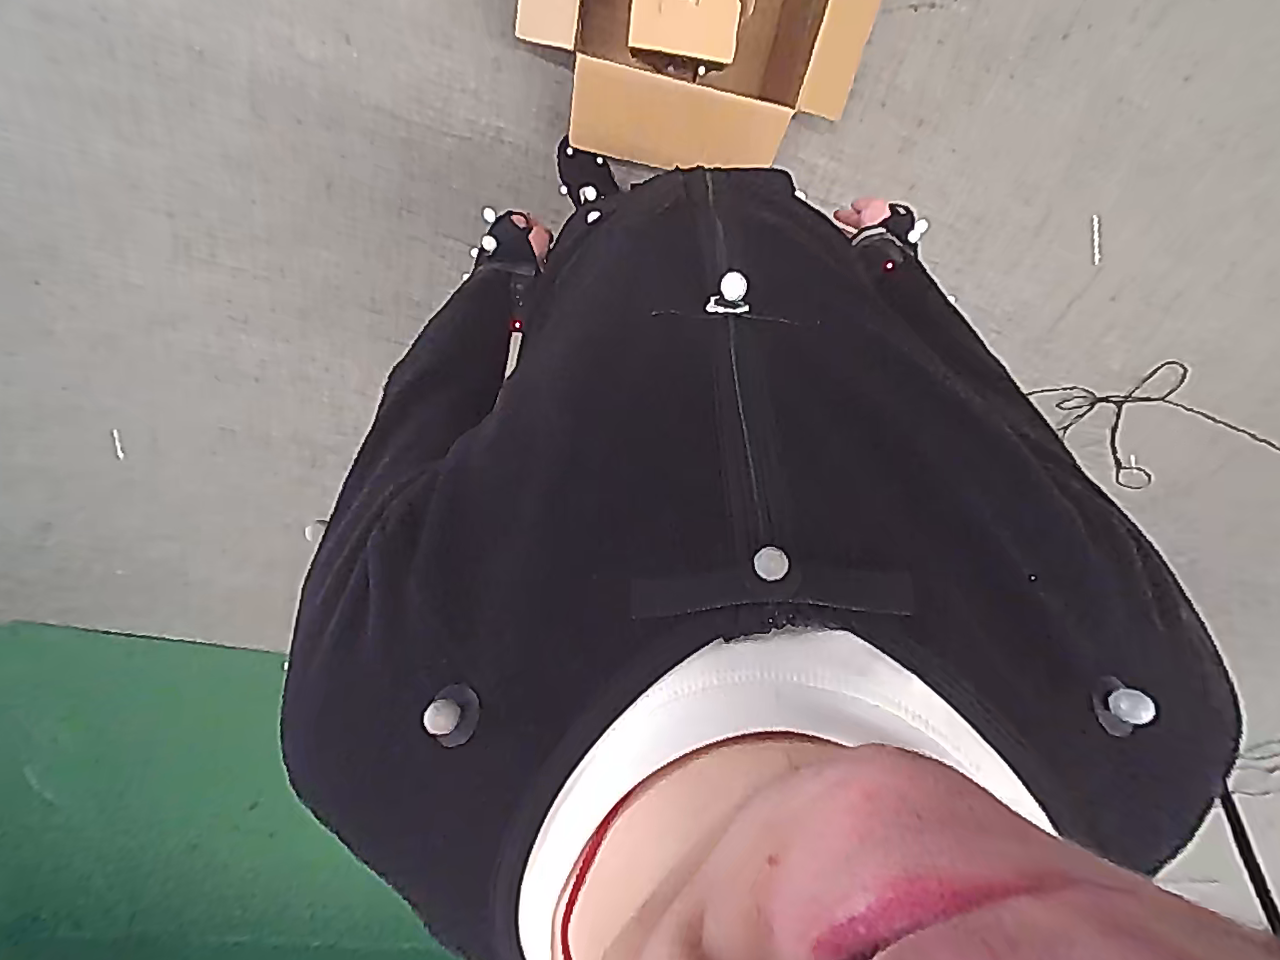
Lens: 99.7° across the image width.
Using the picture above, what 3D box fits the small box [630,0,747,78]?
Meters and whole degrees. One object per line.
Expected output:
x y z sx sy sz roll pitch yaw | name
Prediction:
0.082 -0.796 0.910 0.179 0.176 0.168 8 121 -3 | small box
